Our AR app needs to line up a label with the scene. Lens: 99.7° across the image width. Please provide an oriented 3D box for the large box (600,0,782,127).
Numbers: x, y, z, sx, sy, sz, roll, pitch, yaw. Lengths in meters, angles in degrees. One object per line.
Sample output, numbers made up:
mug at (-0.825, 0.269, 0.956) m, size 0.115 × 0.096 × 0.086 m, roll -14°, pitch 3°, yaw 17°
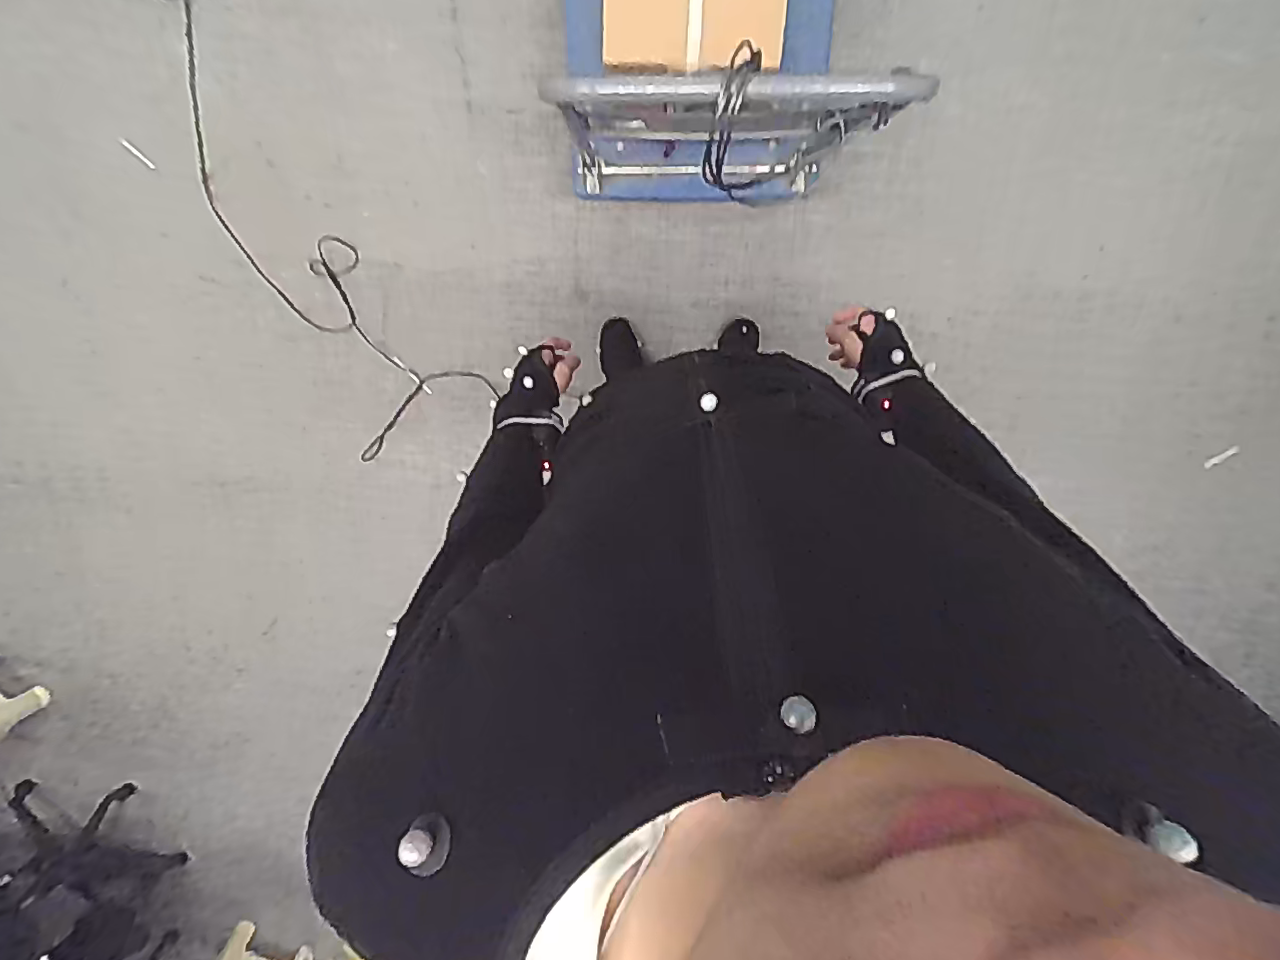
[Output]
large box at (0.096, -0.951, 1.036) m, size 0.320 × 0.320 × 0.408 m, roll 2°, pitch 106°, yaw 1°
